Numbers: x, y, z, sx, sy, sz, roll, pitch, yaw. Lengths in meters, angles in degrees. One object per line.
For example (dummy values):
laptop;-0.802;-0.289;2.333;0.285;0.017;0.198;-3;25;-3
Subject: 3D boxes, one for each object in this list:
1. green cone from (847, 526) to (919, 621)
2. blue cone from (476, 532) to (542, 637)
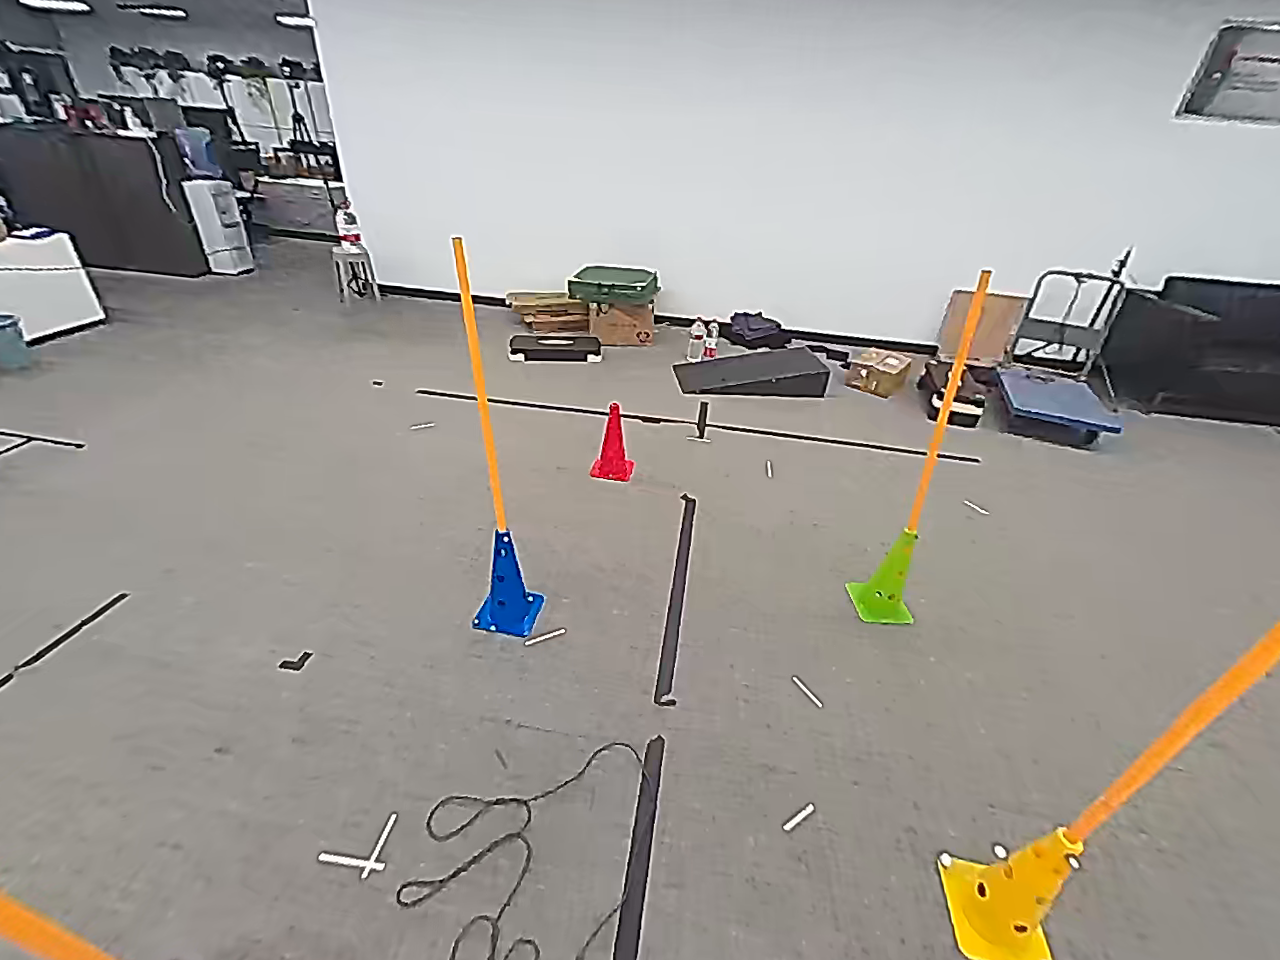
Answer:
green cone;0.915;0.314;1.949;0.200;0.368;0.202;2;34;-4
blue cone;-0.440;0.320;1.787;0.193;0.380;0.192;9;33;8
